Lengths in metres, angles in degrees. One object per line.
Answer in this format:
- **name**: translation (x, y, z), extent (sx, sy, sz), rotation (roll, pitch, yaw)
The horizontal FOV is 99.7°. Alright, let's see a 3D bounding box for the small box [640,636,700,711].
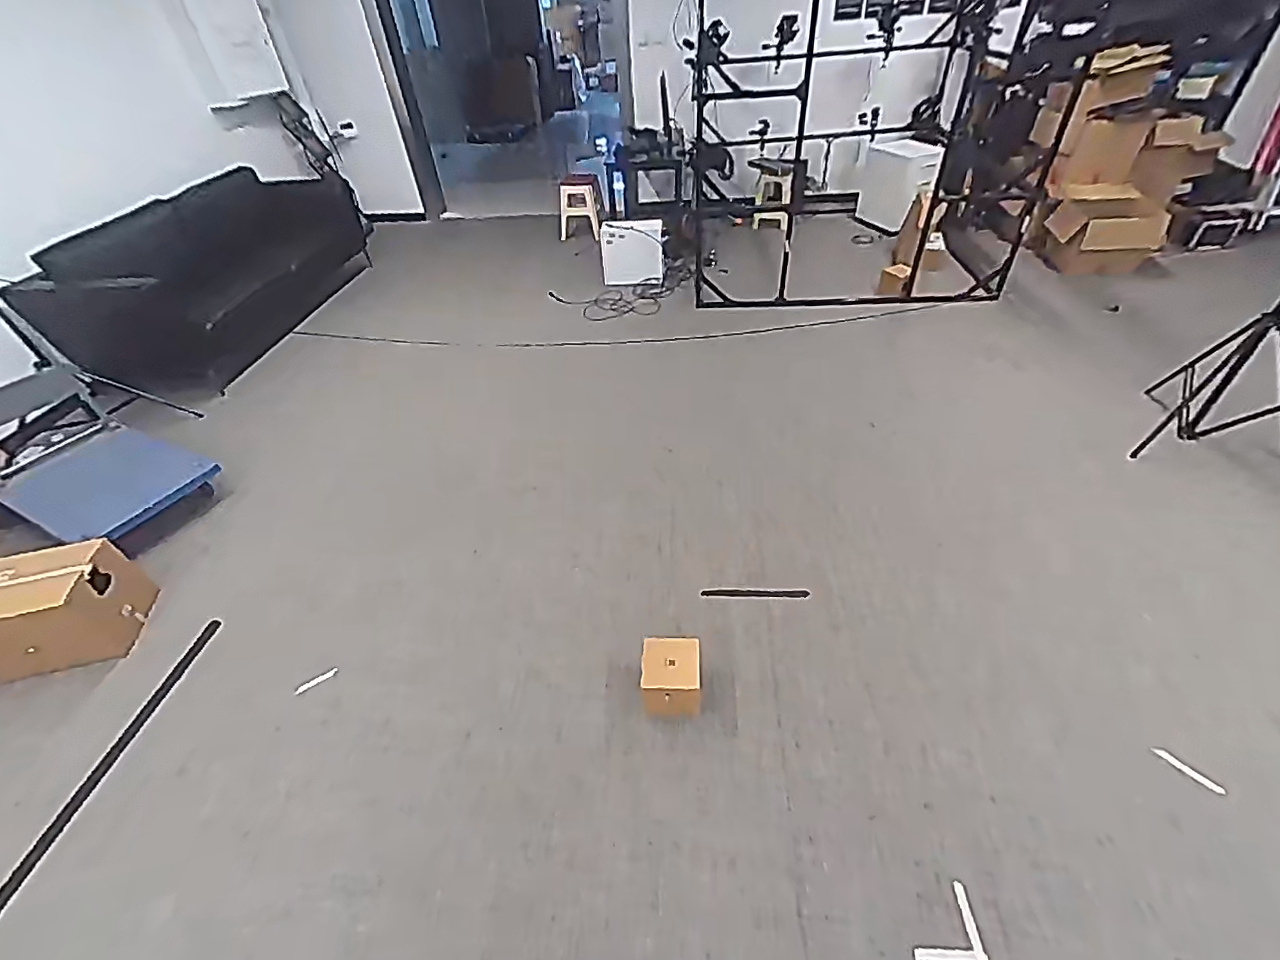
- **small box**: translation (0.097, 0.605, 1.684), extent (0.179, 0.176, 0.168), rotation (-1, 42, 5)
